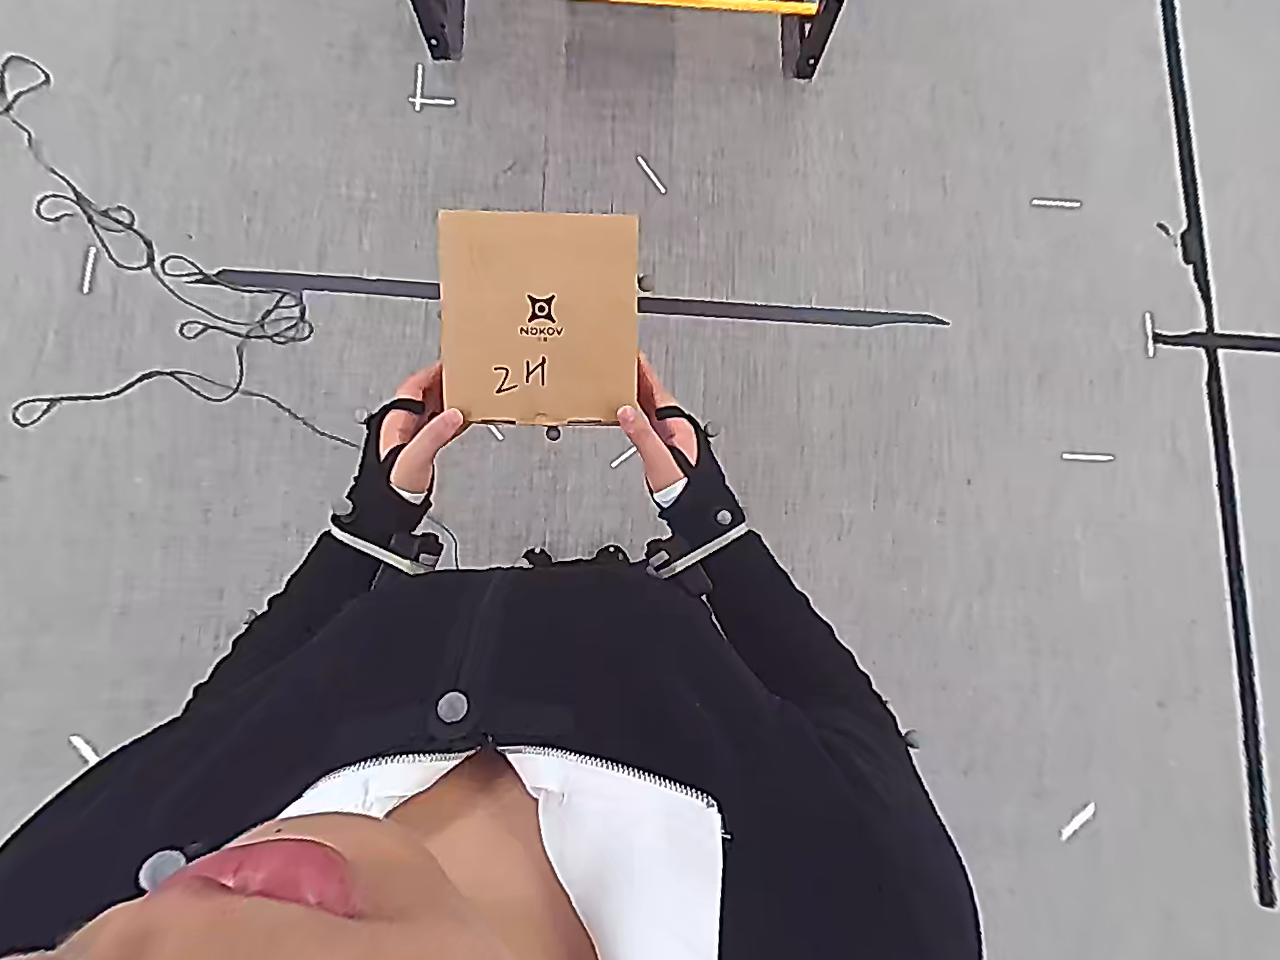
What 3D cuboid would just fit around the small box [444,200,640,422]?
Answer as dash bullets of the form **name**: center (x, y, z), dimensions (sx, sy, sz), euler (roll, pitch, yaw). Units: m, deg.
- **small box**: center (-0.088, -0.150, 0.538), dimensions (0.168, 0.176, 0.179), euler (0, 94, -3)
